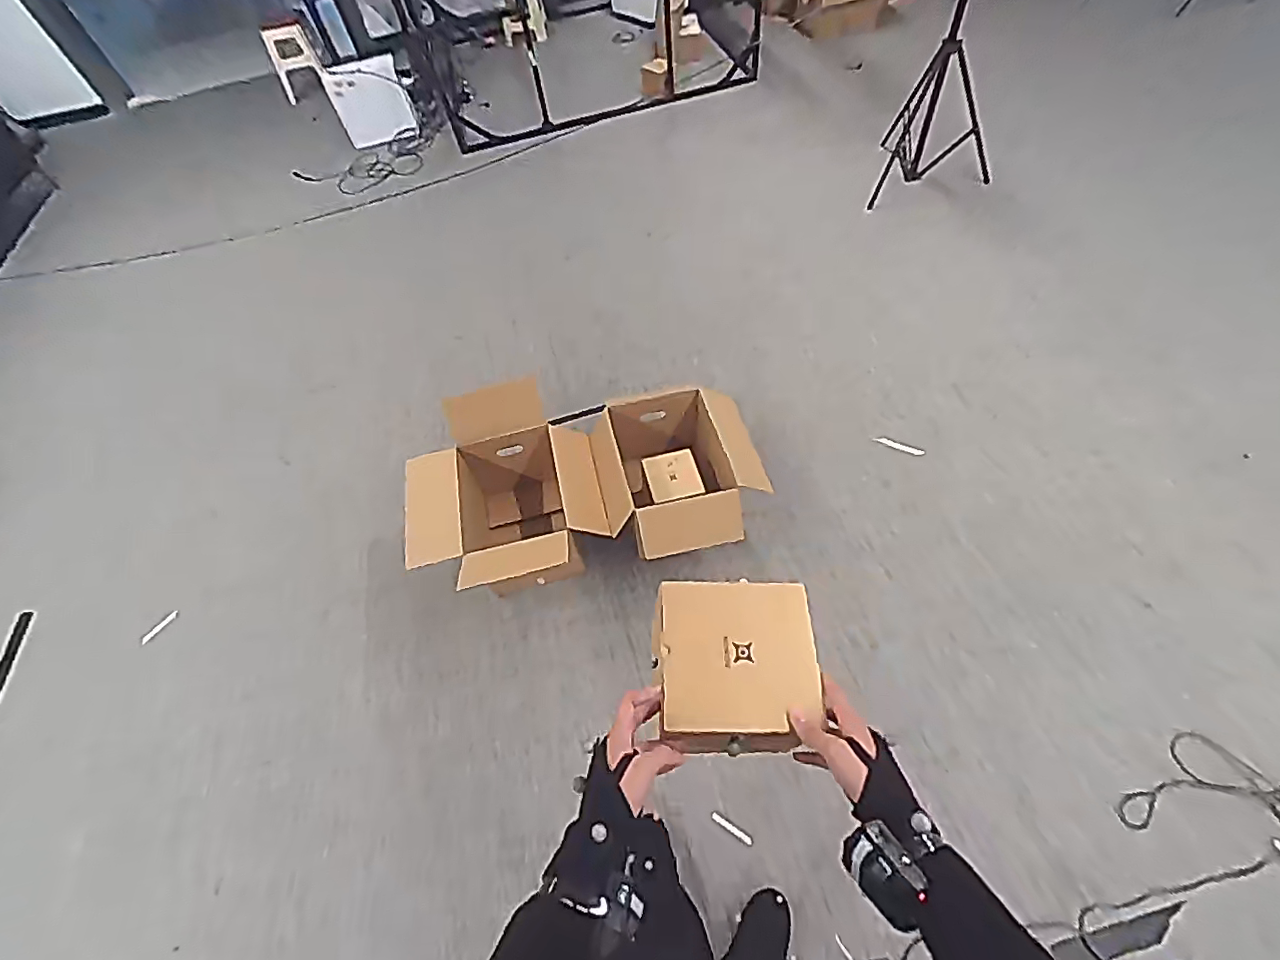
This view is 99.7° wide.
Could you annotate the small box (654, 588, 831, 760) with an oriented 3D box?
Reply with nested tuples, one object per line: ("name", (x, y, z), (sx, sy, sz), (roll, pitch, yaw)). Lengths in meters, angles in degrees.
("small box", (0.108, 0.240, 0.660), (0.179, 0.176, 0.168), (0, 57, -1))
